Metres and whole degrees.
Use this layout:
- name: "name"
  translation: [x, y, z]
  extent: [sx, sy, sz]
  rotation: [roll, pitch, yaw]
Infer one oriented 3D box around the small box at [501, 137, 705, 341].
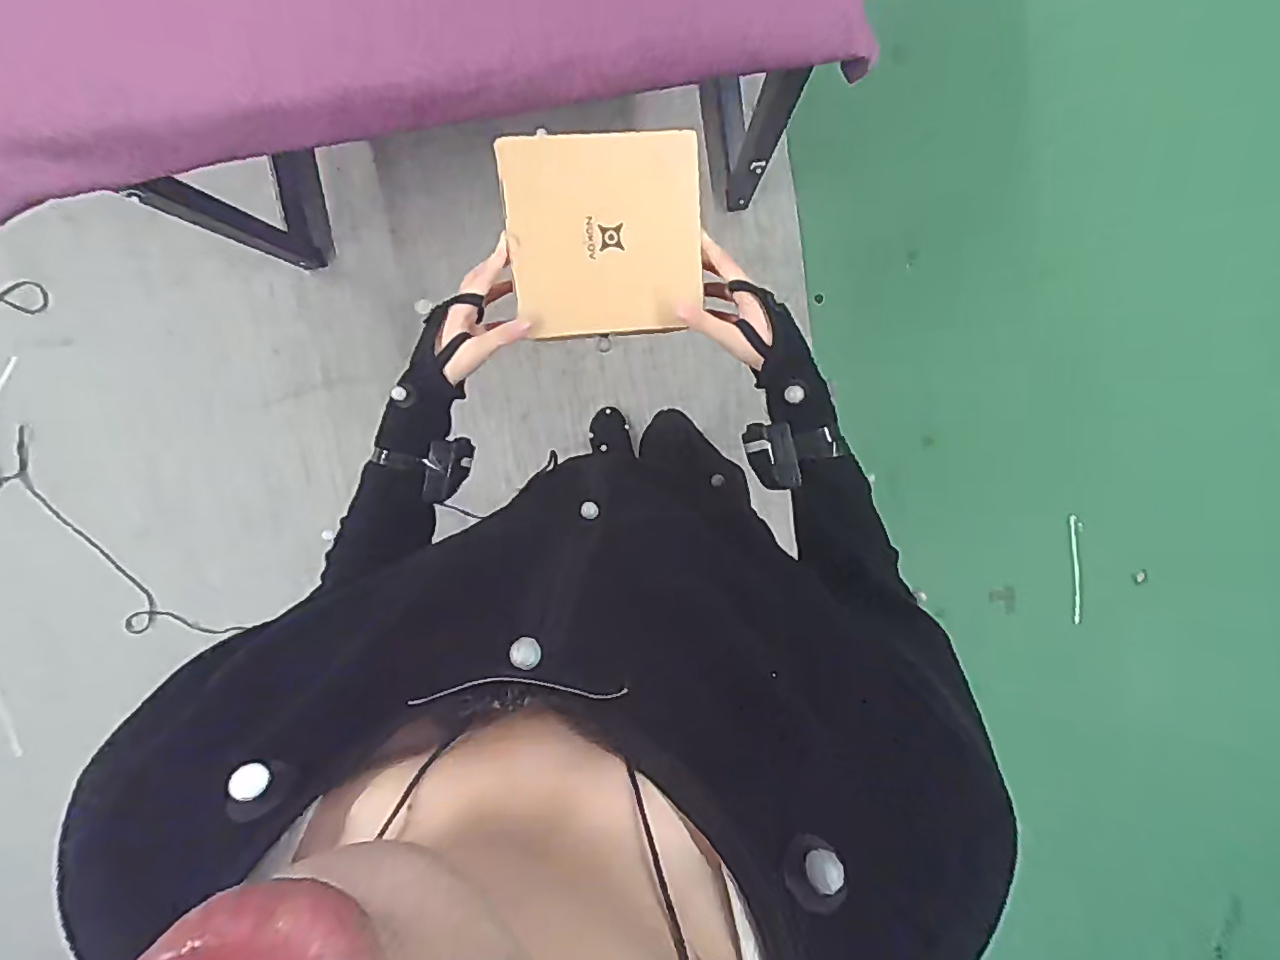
- name: "small box"
  translation: [-0.037, -0.235, 0.563]
  extent: [0.179, 0.176, 0.168]
  rotation: [-5, 104, -4]
